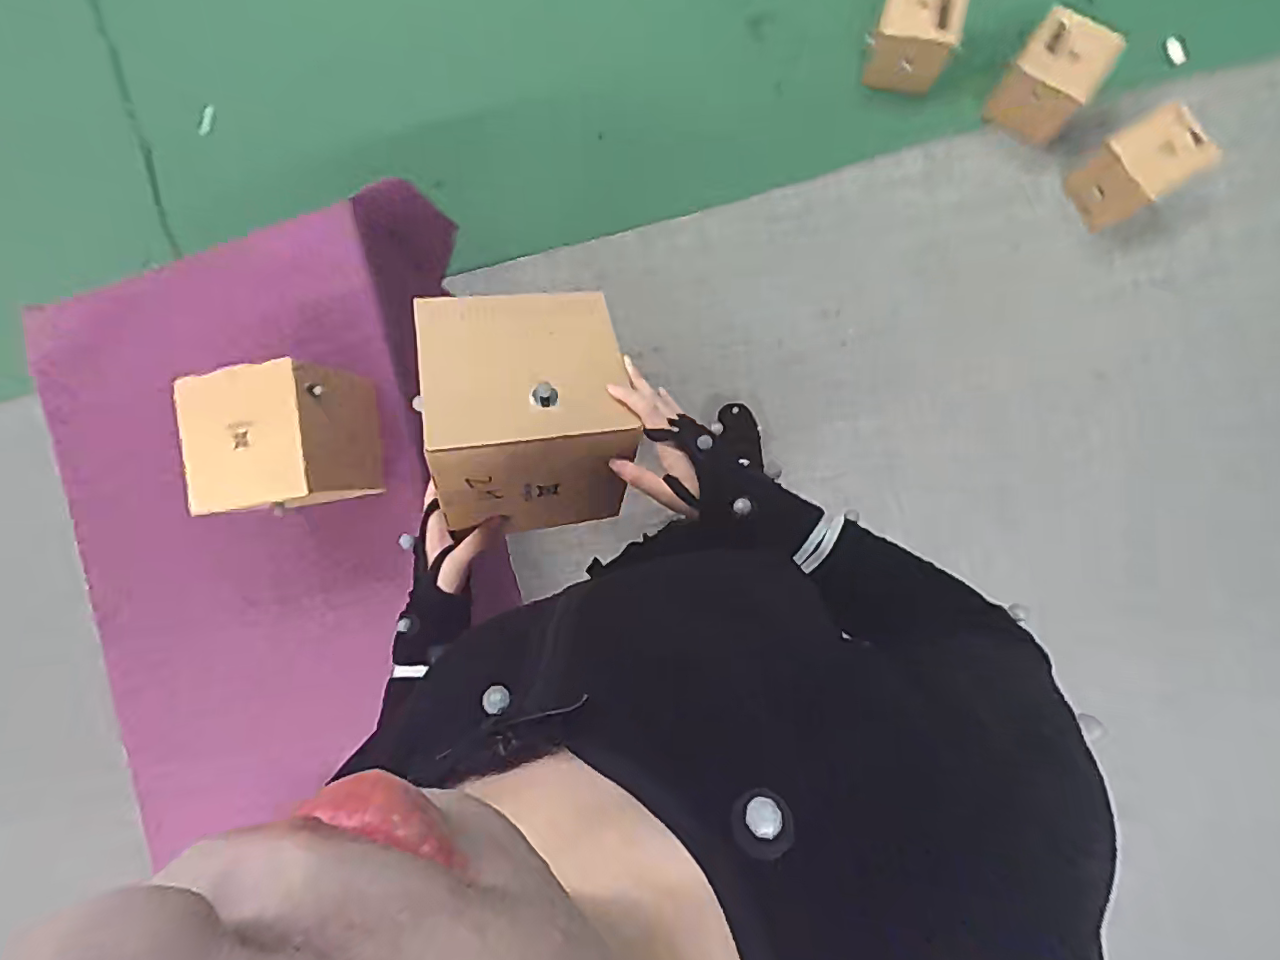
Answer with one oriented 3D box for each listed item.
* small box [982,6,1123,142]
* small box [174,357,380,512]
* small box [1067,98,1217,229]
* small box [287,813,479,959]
[{"bbox_3d":[0.982,-0.970,1.309,0.179,0.176,0.168,33,93,5],"label":"small box"},{"bbox_3d":[-0.489,-0.056,0.753,0.168,0.176,0.179,-9,88,7],"label":"small box"},{"bbox_3d":[1.171,-0.739,1.286,0.179,0.176,0.168,-31,86,6],"label":"small box"},{"bbox_3d":[-0.333,0.590,0.732,0.168,0.176,0.179,-8,88,7],"label":"small box"}]
